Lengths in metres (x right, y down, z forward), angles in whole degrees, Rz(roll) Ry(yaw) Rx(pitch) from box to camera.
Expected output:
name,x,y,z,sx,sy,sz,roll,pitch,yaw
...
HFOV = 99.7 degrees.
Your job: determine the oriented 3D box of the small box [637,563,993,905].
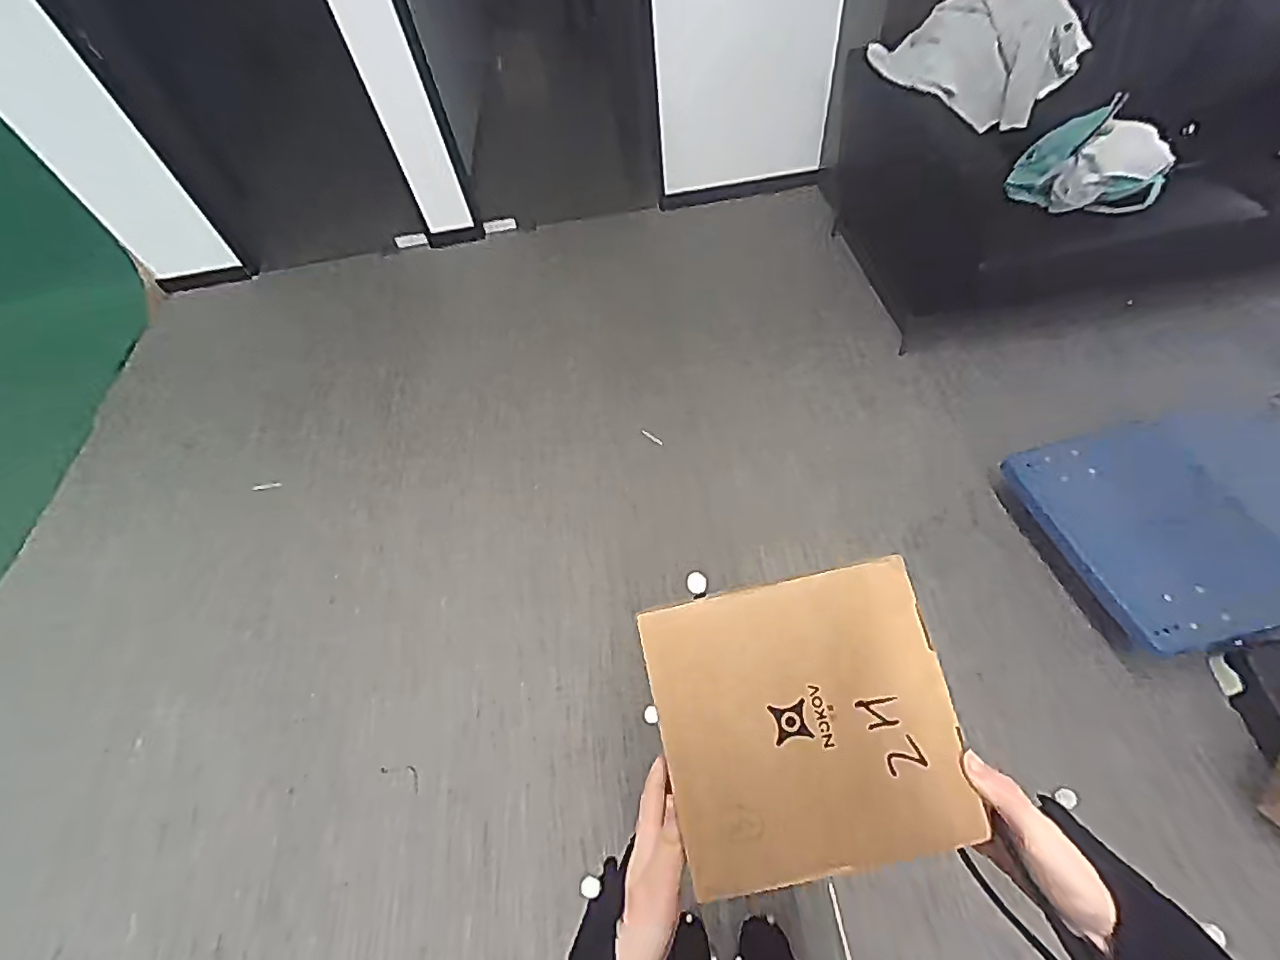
name,x,y,z,sx,sy,sz,roll,pitch,yaw
small box,0.104,0.162,0.399,0.179,0.176,0.168,-13,79,1
